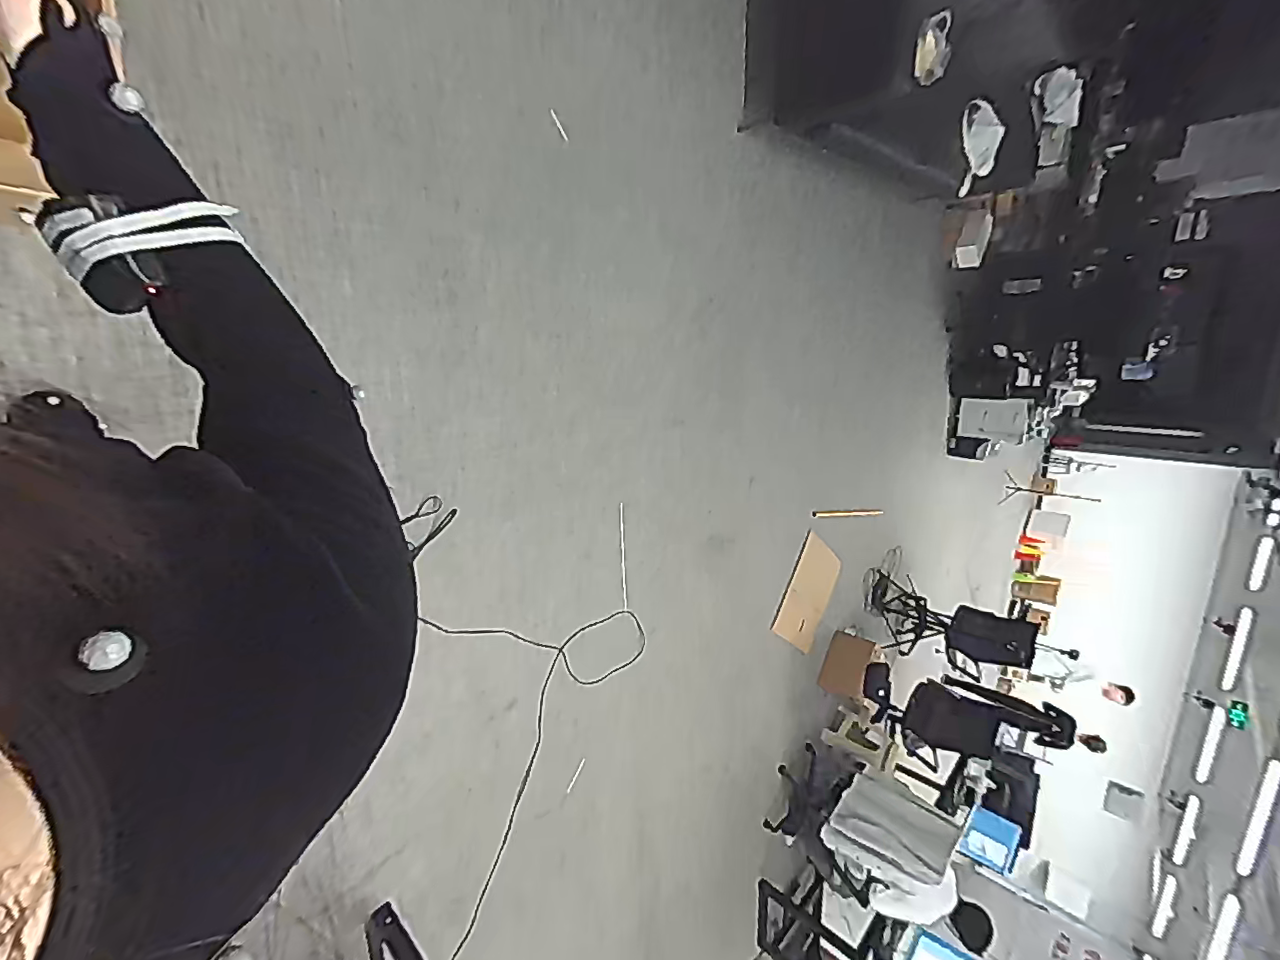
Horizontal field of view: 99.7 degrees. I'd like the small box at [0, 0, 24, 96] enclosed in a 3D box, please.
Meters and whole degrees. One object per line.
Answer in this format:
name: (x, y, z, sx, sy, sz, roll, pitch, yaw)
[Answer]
small box: (-0.623, -0.451, 0.425, 0.168, 0.176, 0.179, -6, 105, -44)
